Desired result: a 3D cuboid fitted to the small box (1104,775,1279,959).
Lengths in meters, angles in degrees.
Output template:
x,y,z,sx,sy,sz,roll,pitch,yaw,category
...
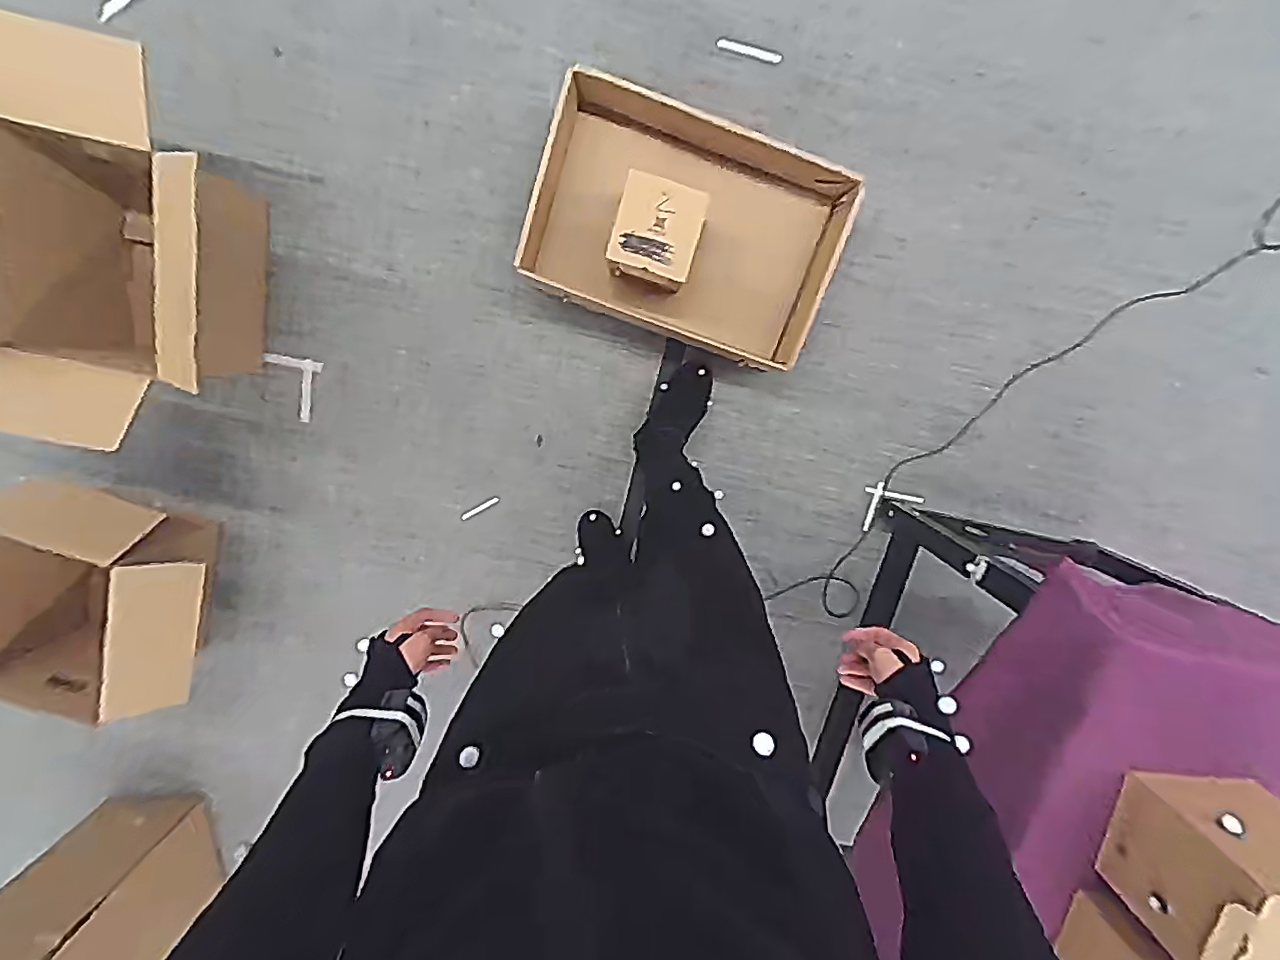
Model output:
x,y,z,sx,sy,sz,roll,pitch,yaw,category
0.736,0.495,0.664,0.179,0.176,0.168,5,105,-1,small box
